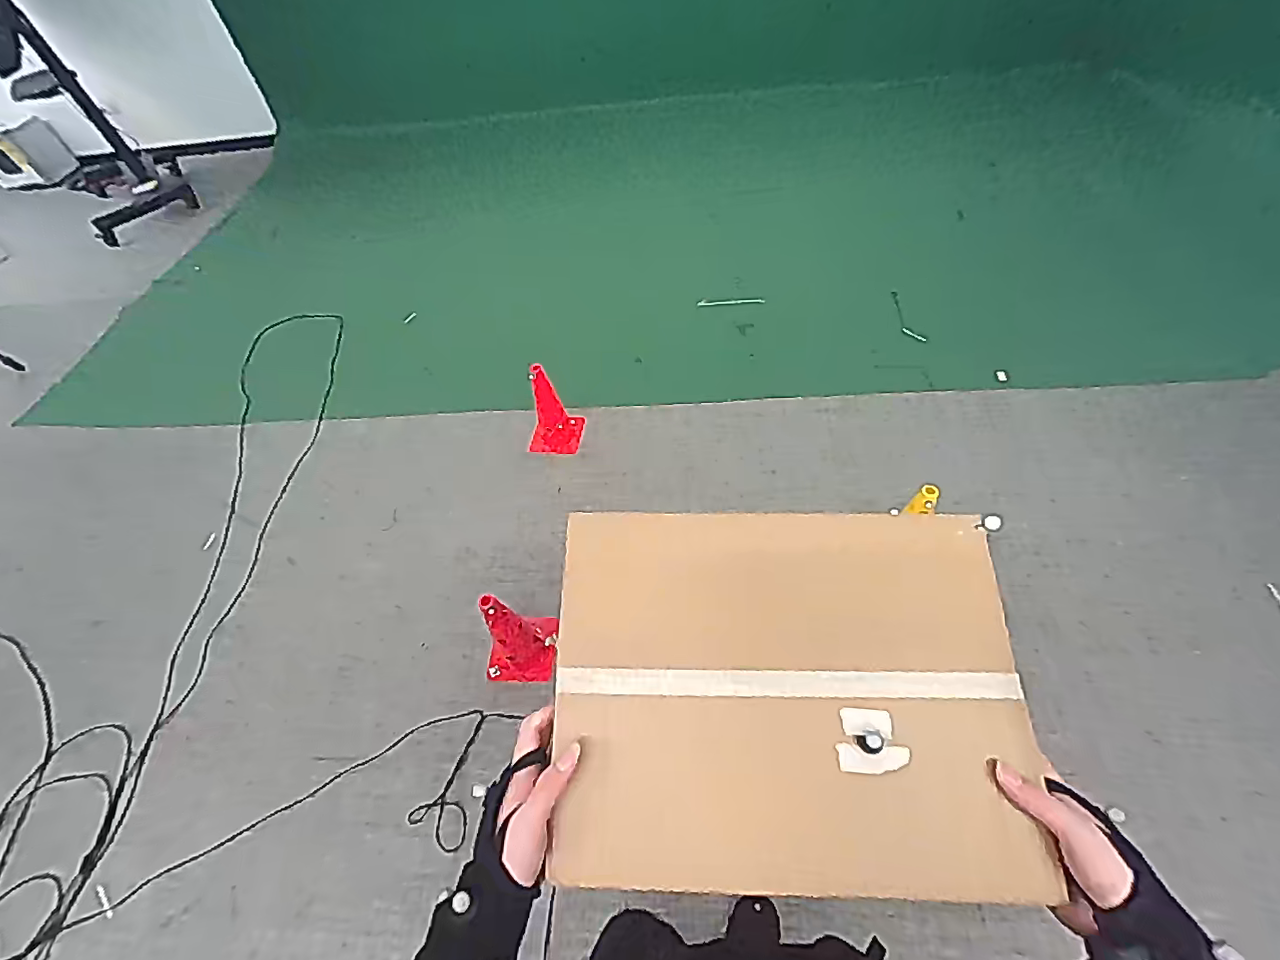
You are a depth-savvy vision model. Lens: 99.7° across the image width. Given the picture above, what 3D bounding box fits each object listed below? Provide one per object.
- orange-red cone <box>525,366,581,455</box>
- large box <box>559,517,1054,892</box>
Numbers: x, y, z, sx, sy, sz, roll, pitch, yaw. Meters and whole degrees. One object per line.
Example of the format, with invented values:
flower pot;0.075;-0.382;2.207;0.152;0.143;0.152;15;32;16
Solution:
orange-red cone;-0.366;-0.281;2.029;0.199;0.360;0.198;3;53;11
large box;0.132;0.238;0.623;0.408;0.320;0.320;0;69;1
